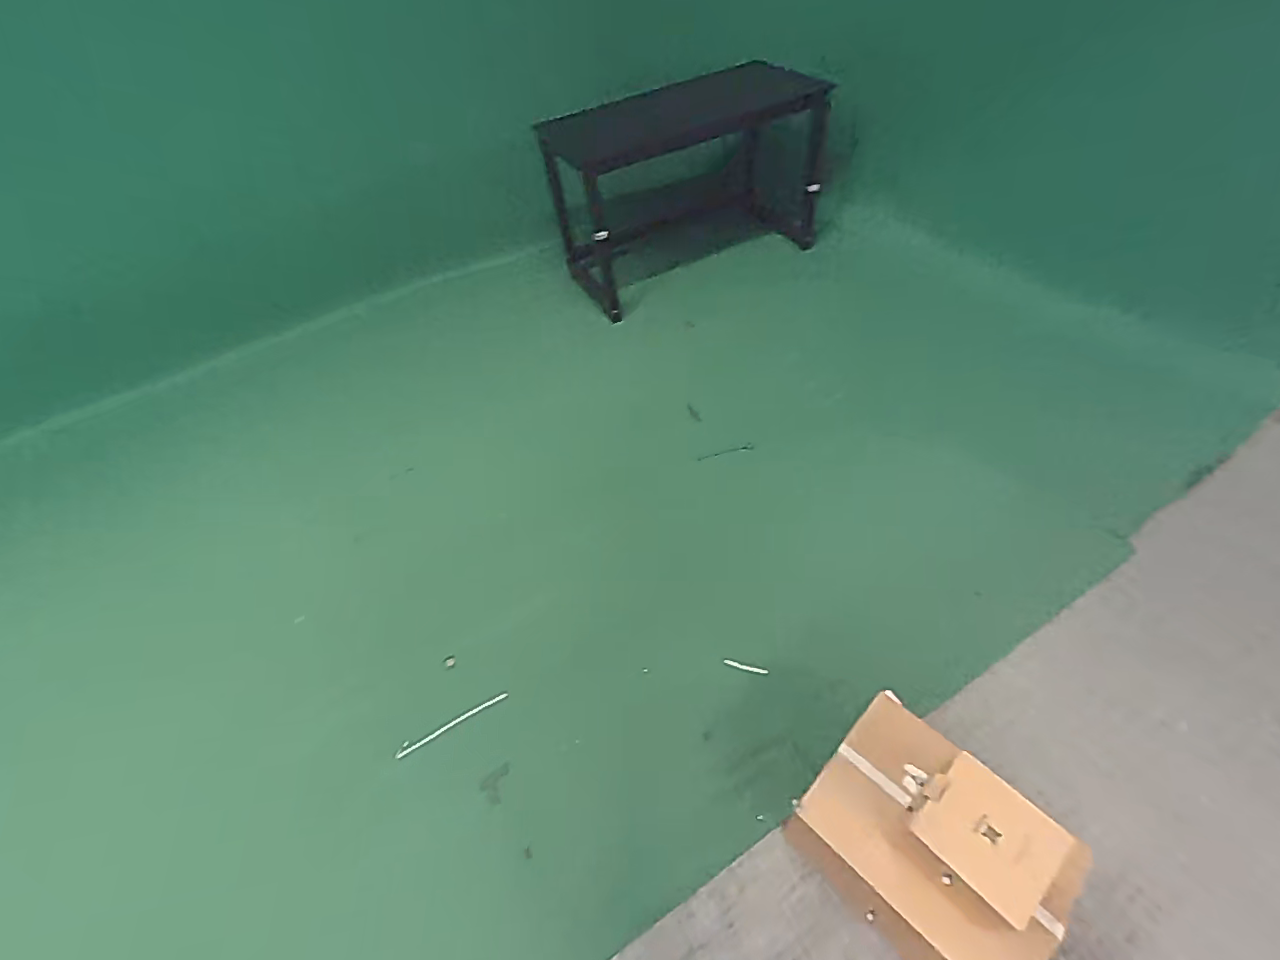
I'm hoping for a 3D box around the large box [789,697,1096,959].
[{"bbox_3d":[0.560,0.731,1.080,0.320,0.320,0.408,-39,53,-23],"label":"large box"}]

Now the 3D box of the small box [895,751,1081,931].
[{"bbox_3d":[0.548,0.586,0.879,0.168,0.176,0.179,-38,55,-19],"label":"small box"}]
